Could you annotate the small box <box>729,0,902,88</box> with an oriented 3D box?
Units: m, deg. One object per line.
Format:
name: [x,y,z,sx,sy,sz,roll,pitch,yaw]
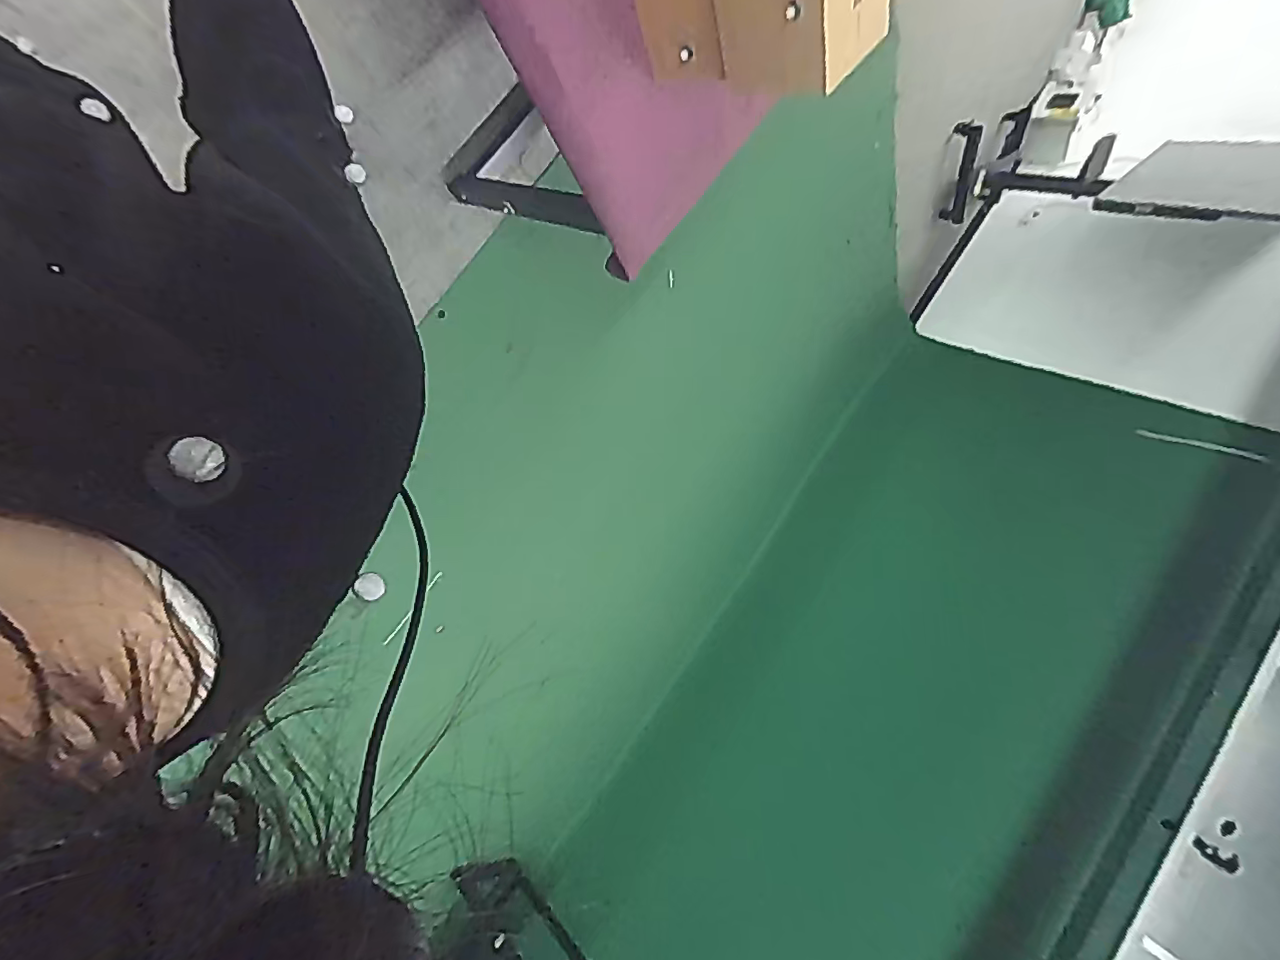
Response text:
small box: [0.229,-0.656,0.719,0.168,0.176,0.179,-49,144,-15]

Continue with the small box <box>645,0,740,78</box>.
small box: [0.120,-0.740,0.808,0.168,0.176,0.179,-49,143,-15]
